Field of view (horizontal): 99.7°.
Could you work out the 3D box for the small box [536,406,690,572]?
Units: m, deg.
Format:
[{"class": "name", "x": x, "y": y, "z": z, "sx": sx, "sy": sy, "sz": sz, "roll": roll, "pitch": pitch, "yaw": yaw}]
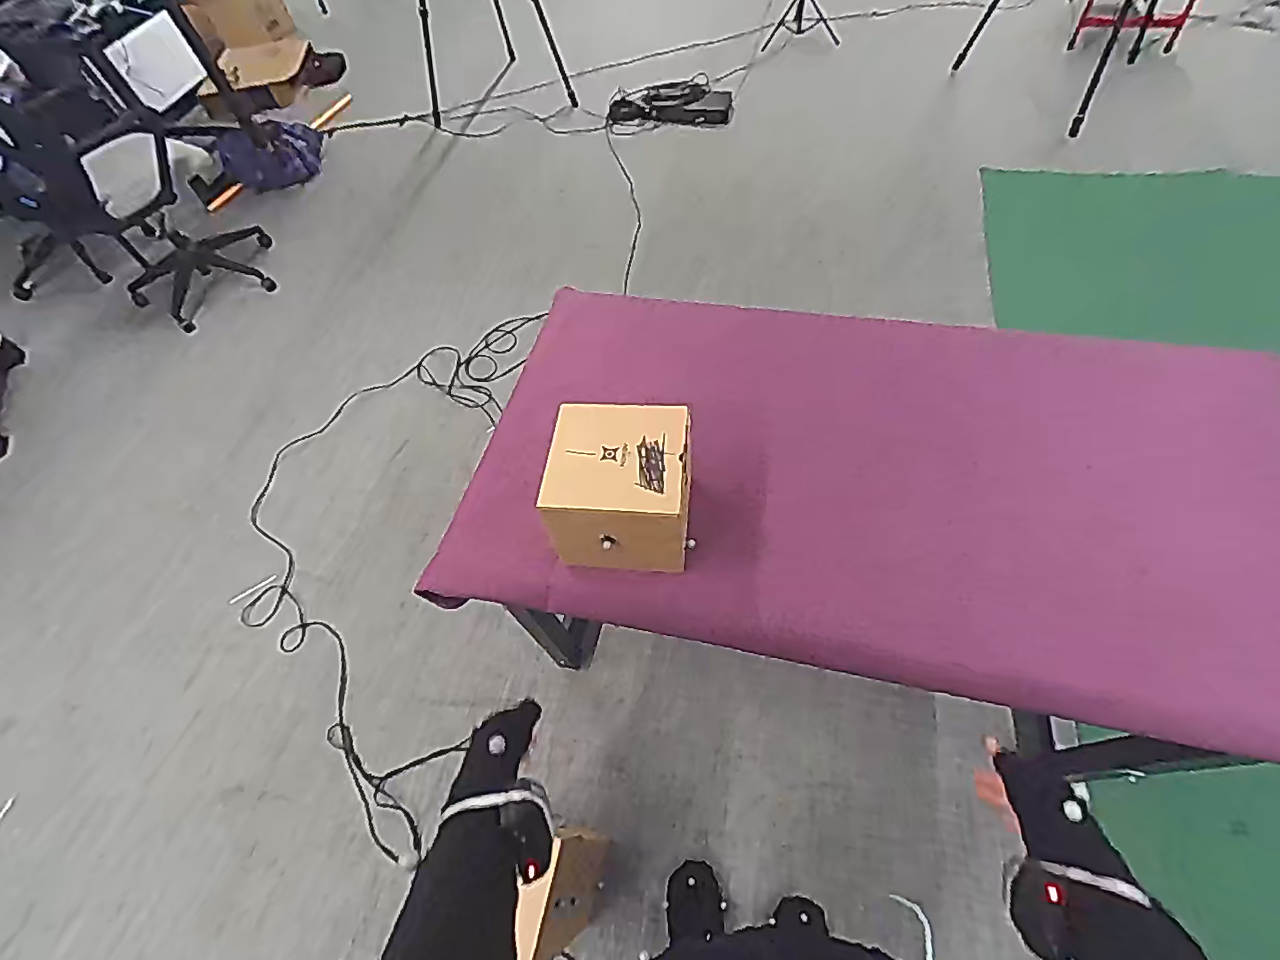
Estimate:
[{"class": "small box", "x": -0.024, "y": 0.018, "z": 0.748, "sx": 0.179, "sy": 0.176, "sz": 0.168, "roll": 3, "pitch": 57, "yaw": 8}]
